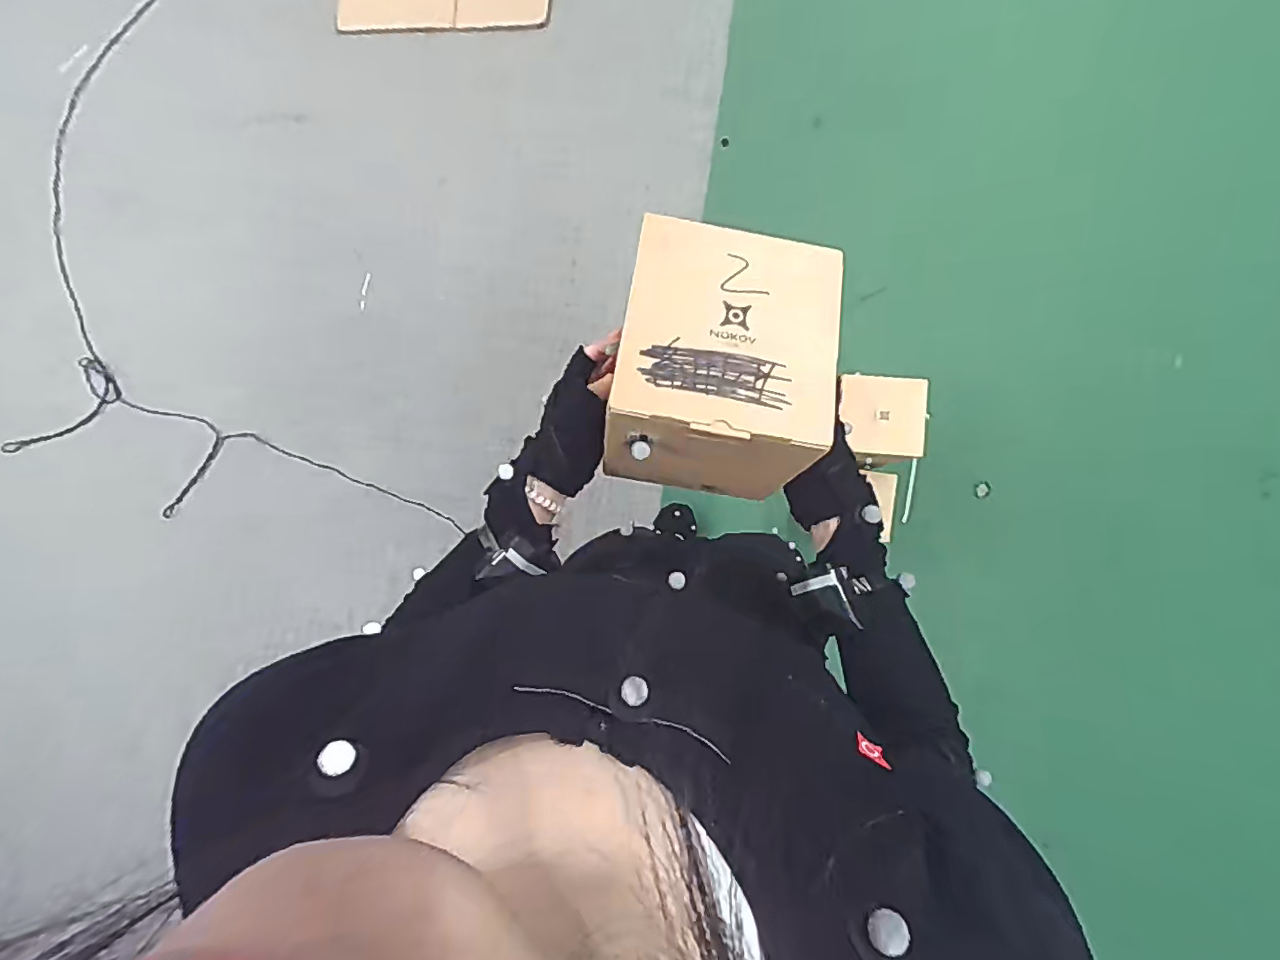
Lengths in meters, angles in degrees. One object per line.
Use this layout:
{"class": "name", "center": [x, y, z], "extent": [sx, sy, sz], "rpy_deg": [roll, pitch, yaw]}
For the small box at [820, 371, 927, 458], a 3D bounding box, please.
{"class": "small box", "center": [0.516, -0.140, 1.212], "extent": [0.179, 0.176, 0.168], "rpy_deg": [5, 88, 8]}
